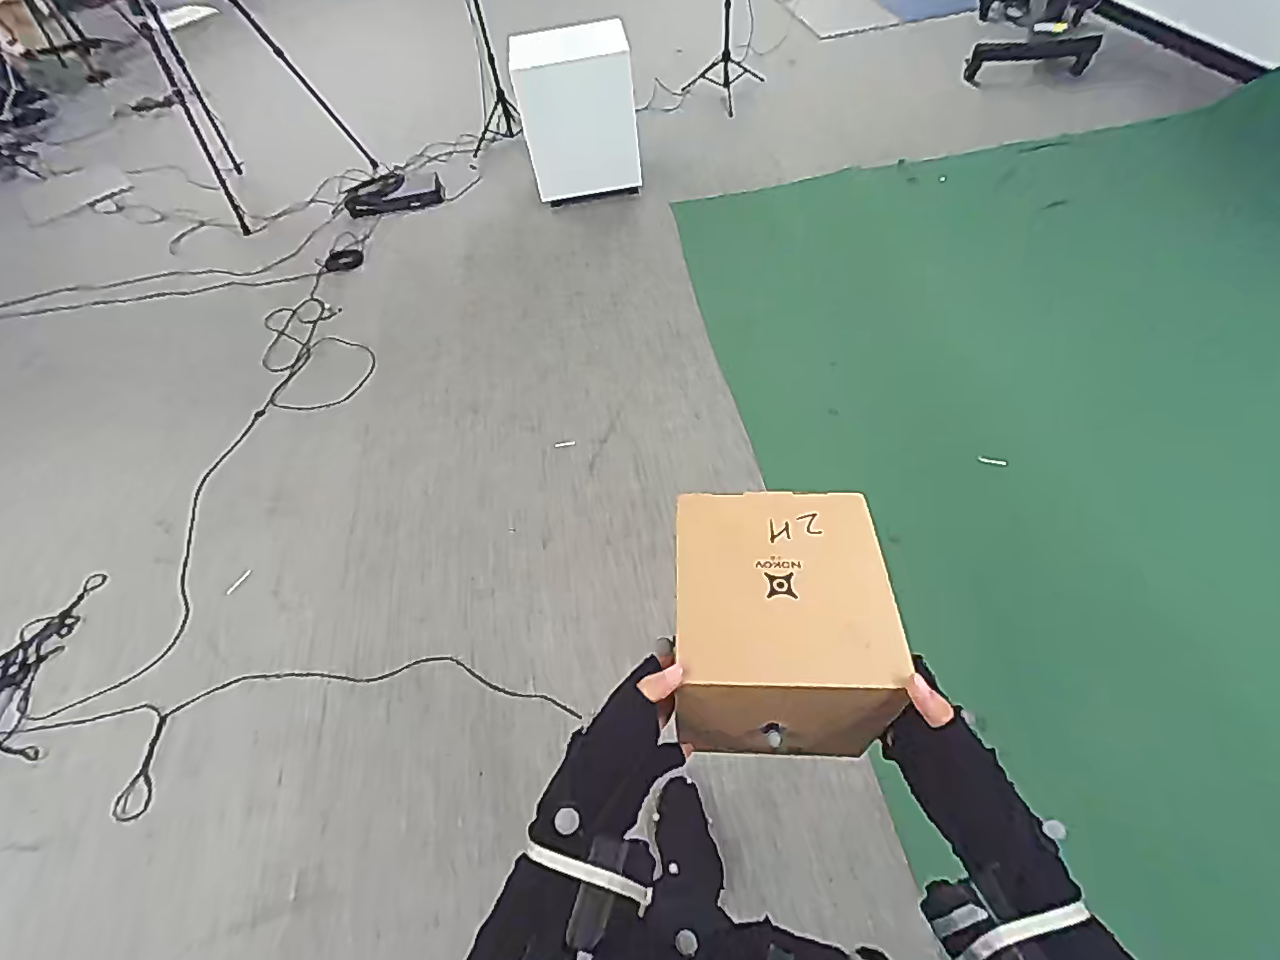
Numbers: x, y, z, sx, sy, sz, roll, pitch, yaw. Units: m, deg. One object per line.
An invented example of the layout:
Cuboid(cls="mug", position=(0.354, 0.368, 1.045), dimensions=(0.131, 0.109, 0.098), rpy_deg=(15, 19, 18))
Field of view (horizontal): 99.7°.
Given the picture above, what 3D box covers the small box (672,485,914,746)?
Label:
Cuboid(cls="small box", position=(0.115, 0.123, 0.483), dimensions=(0.168, 0.176, 0.179), rpy_deg=(0, 48, 5))
